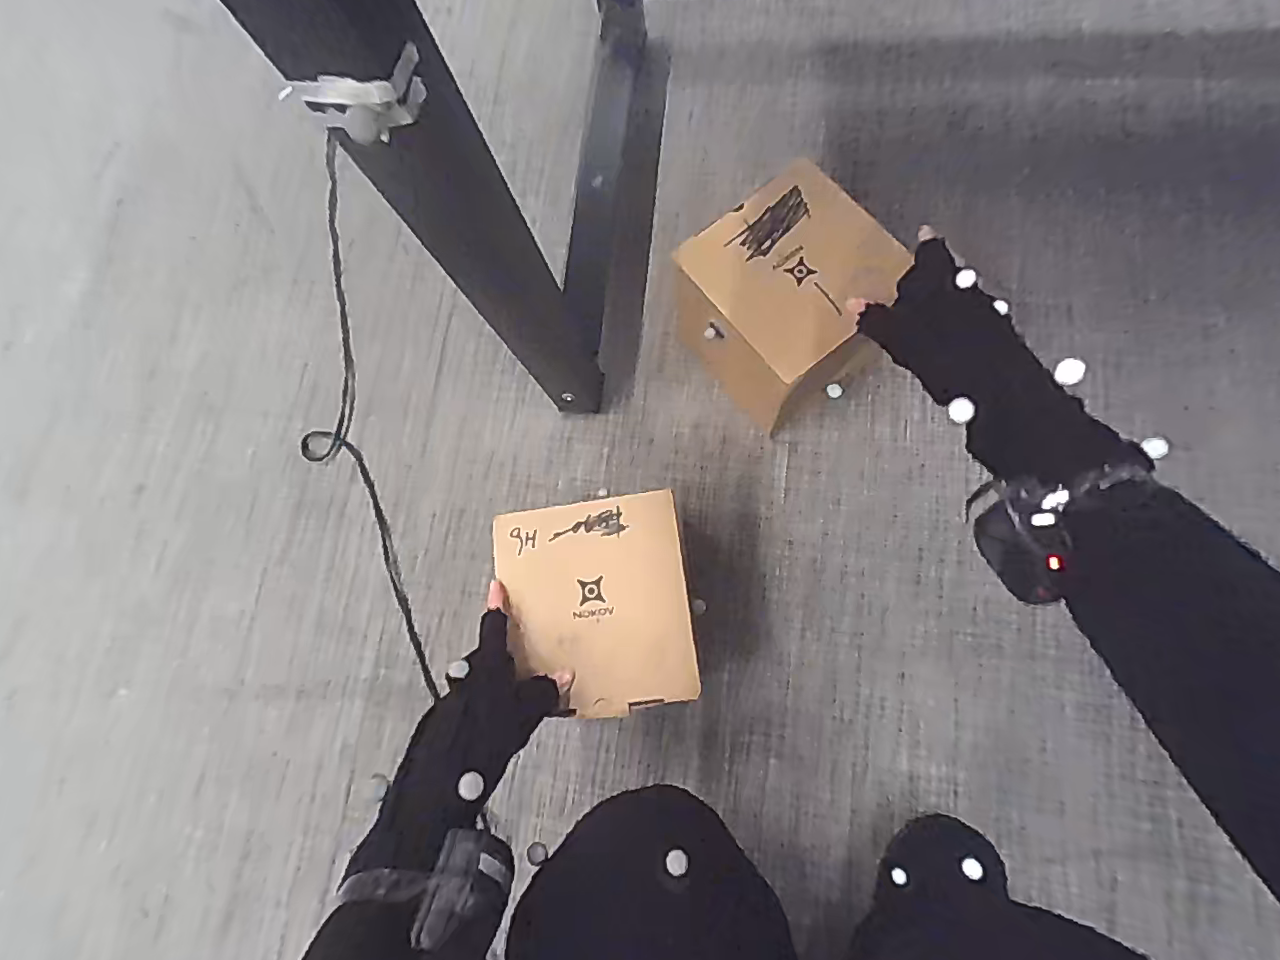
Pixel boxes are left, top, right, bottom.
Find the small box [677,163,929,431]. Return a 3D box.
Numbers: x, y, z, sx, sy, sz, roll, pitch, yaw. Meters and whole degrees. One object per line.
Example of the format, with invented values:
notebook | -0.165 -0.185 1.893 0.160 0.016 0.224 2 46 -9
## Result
small box | 0.156 -0.180 0.581 0.168 0.176 0.179 -36 77 -1
